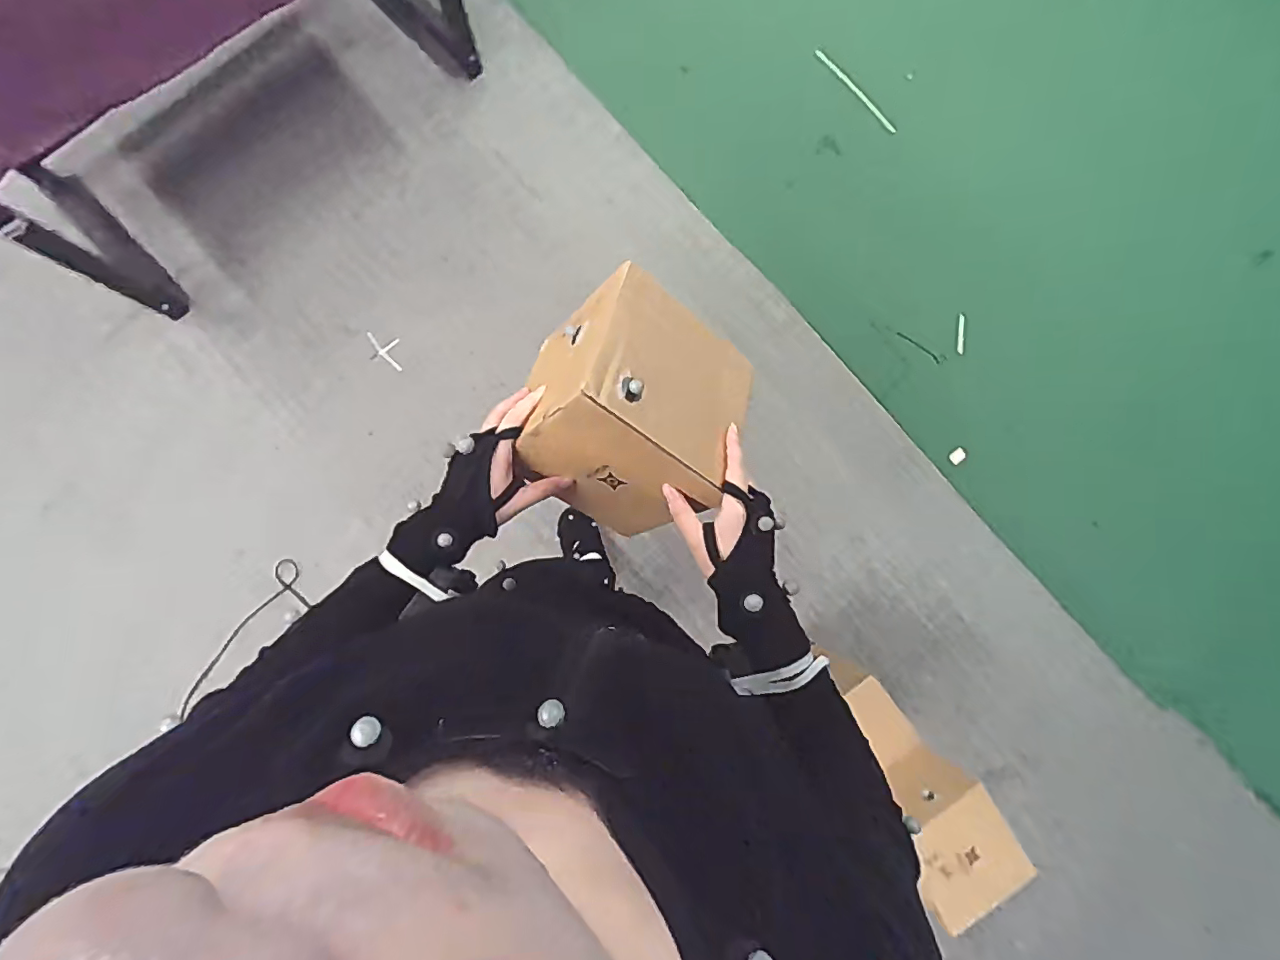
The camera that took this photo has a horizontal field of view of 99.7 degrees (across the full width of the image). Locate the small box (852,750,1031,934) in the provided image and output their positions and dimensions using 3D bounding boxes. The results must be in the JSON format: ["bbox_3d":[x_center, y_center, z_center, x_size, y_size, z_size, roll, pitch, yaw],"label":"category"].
[{"bbox_3d":[0.510,0.610,0.941,0.179,0.176,0.168,-30,86,-5],"label":"small box"}]
